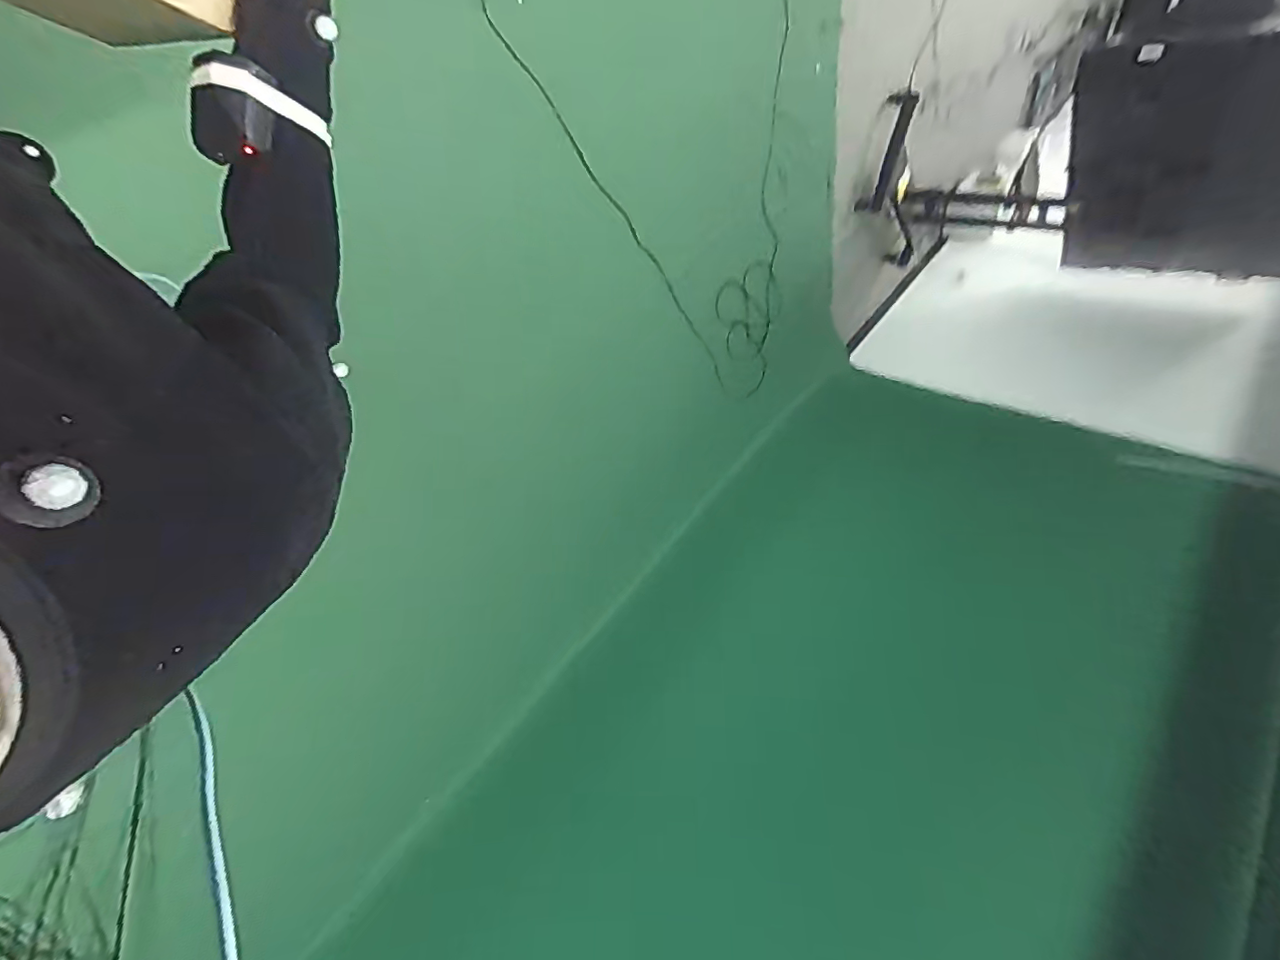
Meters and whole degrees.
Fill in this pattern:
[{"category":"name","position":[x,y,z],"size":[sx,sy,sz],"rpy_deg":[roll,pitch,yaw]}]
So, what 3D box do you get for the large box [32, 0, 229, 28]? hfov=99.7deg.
[{"category":"large box","position":[-0.508,-0.518,0.281],"size":[0.408,0.320,0.320],"rpy_deg":[-11,121,-53]}]
